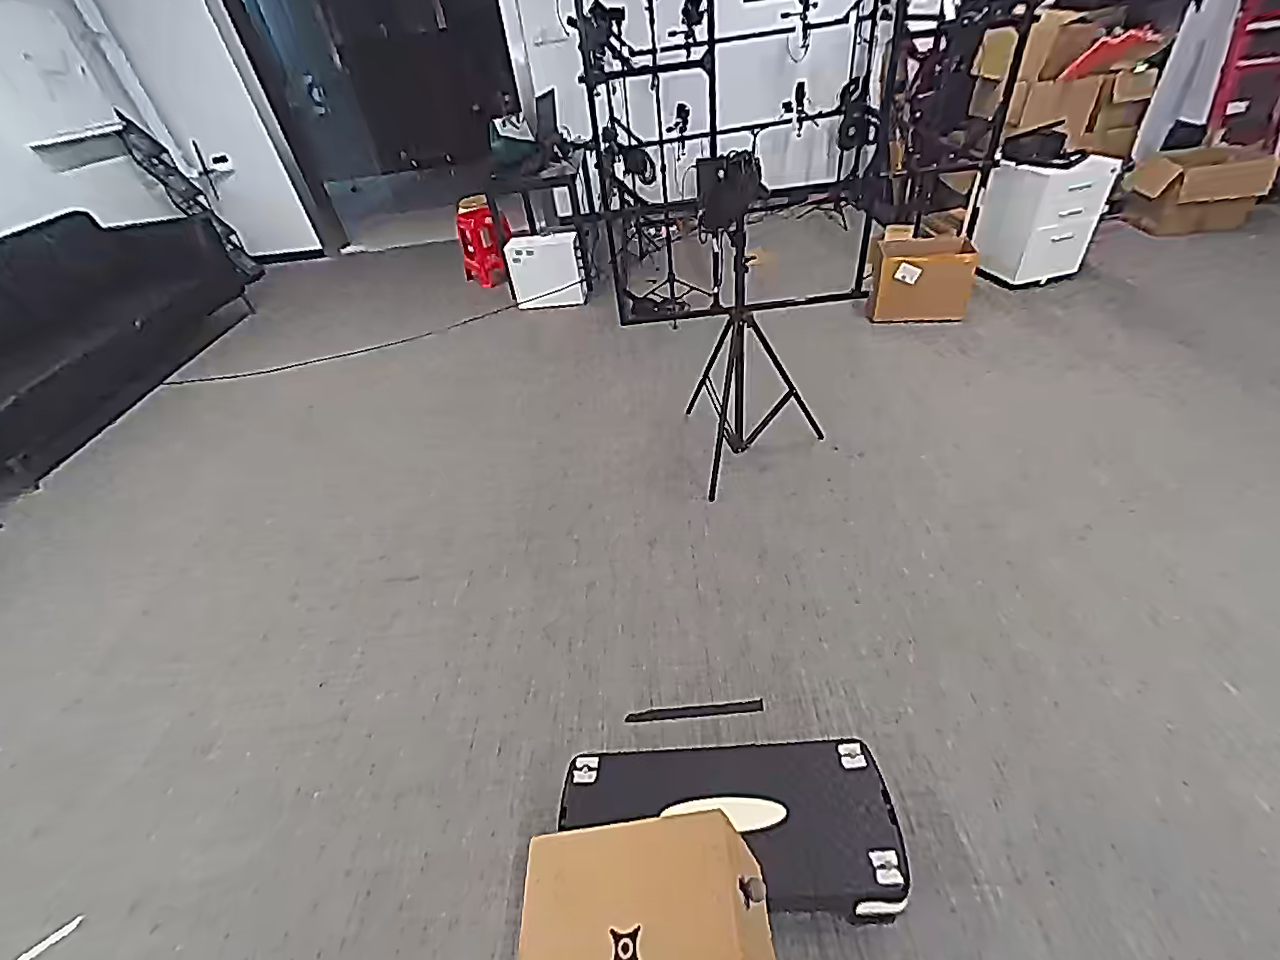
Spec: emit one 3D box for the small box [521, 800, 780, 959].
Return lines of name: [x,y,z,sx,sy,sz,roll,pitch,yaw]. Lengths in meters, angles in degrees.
small box: [0.017,0.384,0.422,0.168,0.176,0.179,-15,39,11]

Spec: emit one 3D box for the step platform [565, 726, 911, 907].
step platform: [0.186,0.714,1.141,0.684,0.204,0.286,-6,39,4]
